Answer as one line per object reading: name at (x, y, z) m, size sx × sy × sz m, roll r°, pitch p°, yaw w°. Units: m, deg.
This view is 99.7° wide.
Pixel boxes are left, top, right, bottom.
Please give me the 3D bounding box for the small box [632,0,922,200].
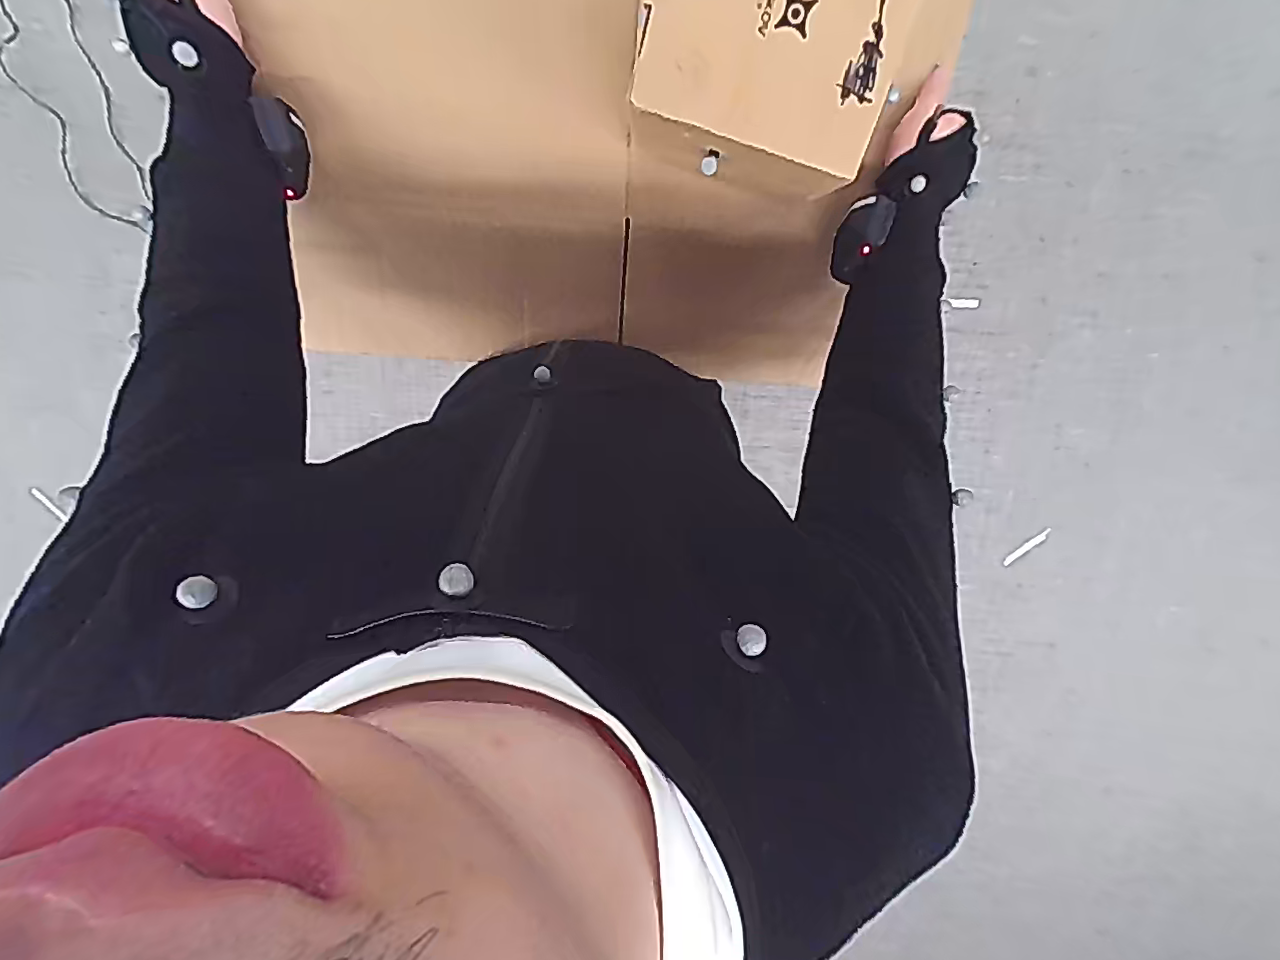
small box at (0.103, -0.349, 0.445) m, size 0.179 × 0.176 × 0.168 m, roll 17°, pitch 110°, yaw -4°
